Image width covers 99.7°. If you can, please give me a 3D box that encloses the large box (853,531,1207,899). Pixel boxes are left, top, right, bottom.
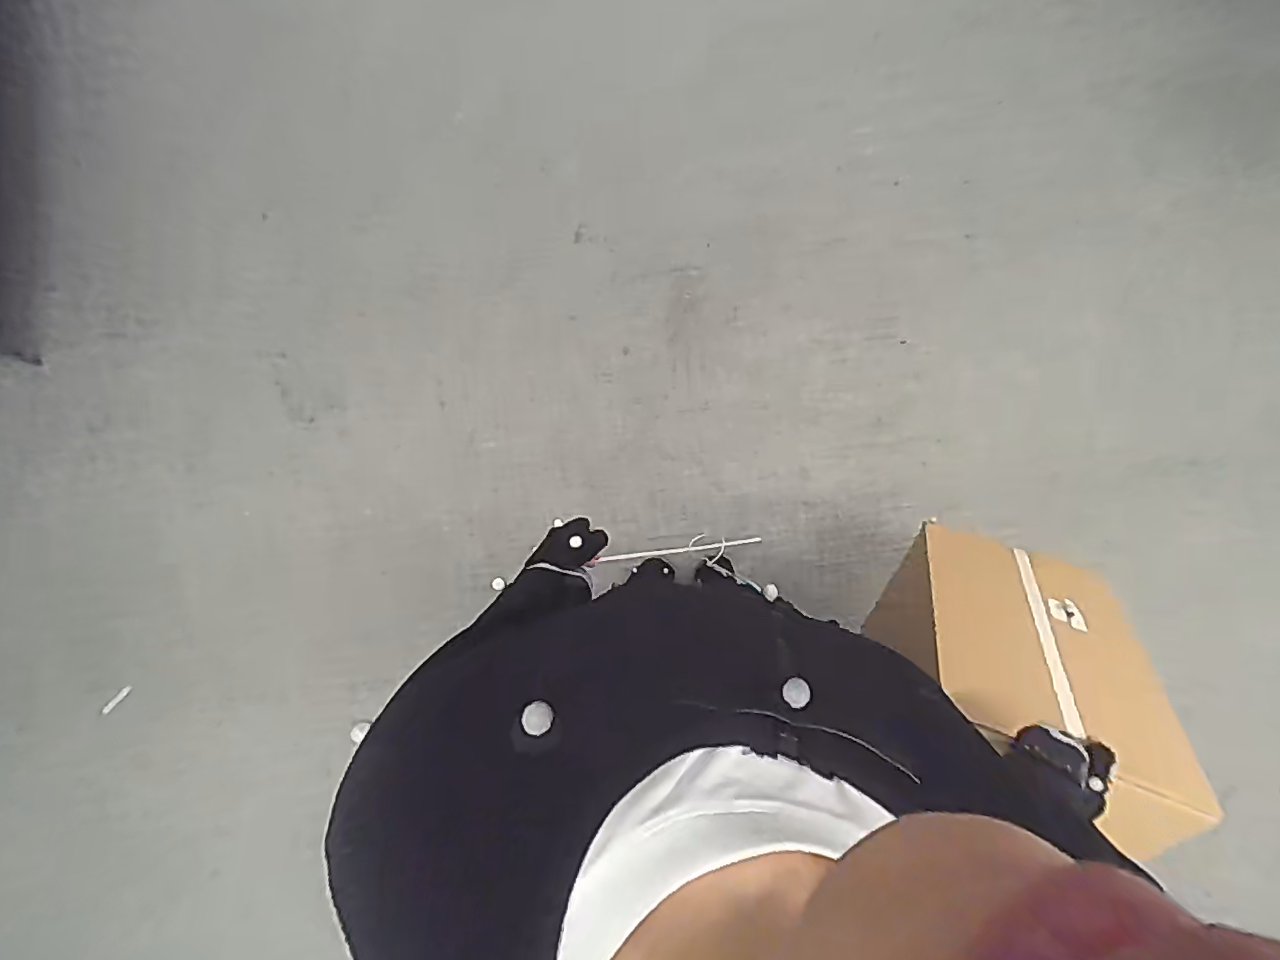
[{"bbox_3d":[0.566,0.363,0.896,0.320,0.408,0.320,20,128,11],"label":"large box"}]
